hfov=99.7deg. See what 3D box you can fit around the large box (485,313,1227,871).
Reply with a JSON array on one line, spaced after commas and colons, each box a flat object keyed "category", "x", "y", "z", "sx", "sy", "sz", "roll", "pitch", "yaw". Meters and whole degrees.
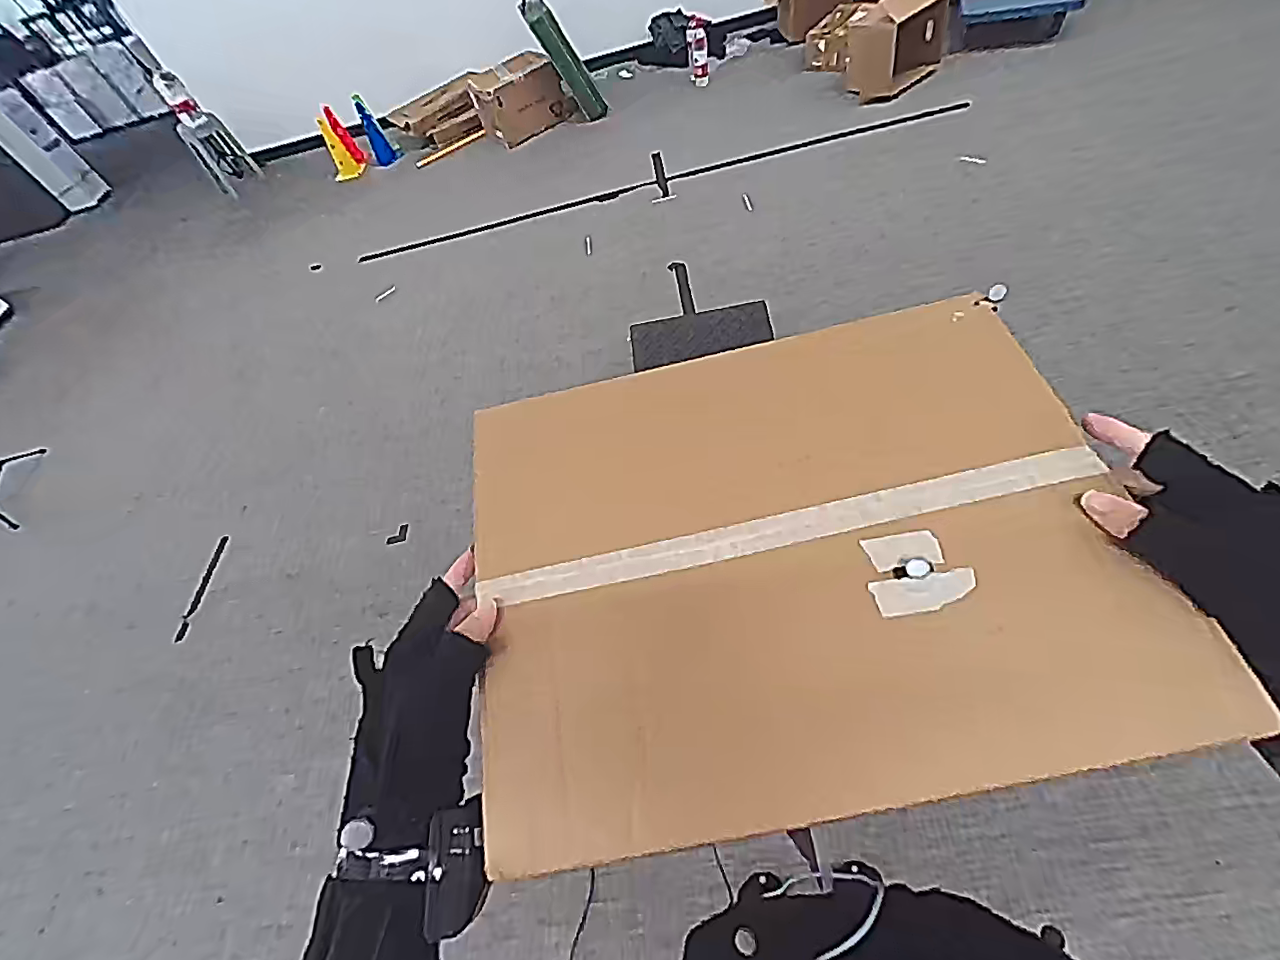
[{"category": "large box", "x": 0.112, "y": 0.111, "z": 0.492, "sx": 0.408, "sy": 0.320, "sz": 0.320, "roll": -13, "pitch": 61, "yaw": 2}]
